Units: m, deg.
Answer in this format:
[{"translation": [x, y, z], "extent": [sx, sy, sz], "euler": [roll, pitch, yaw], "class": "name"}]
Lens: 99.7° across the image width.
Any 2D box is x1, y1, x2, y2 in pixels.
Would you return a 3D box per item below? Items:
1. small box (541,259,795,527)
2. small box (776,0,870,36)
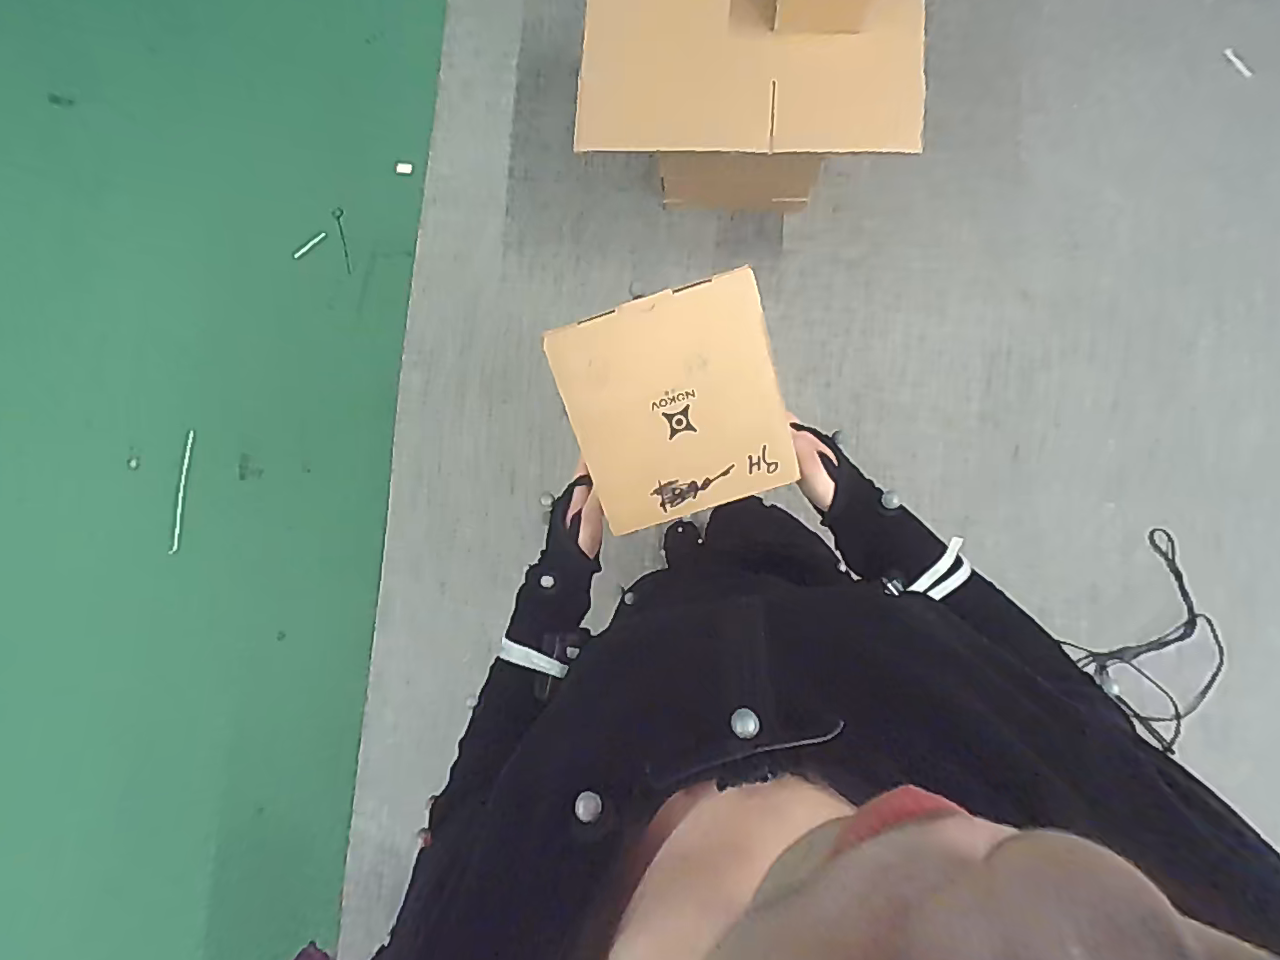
[{"translation": [0.023, -0.083, 0.499], "extent": [0.168, 0.176, 0.179], "euler": [-17, 107, 4], "class": "small box"}, {"translation": [0.359, -0.990, 1.025], "extent": [0.179, 0.176, 0.168], "euler": [6, 86, 7], "class": "small box"}]
